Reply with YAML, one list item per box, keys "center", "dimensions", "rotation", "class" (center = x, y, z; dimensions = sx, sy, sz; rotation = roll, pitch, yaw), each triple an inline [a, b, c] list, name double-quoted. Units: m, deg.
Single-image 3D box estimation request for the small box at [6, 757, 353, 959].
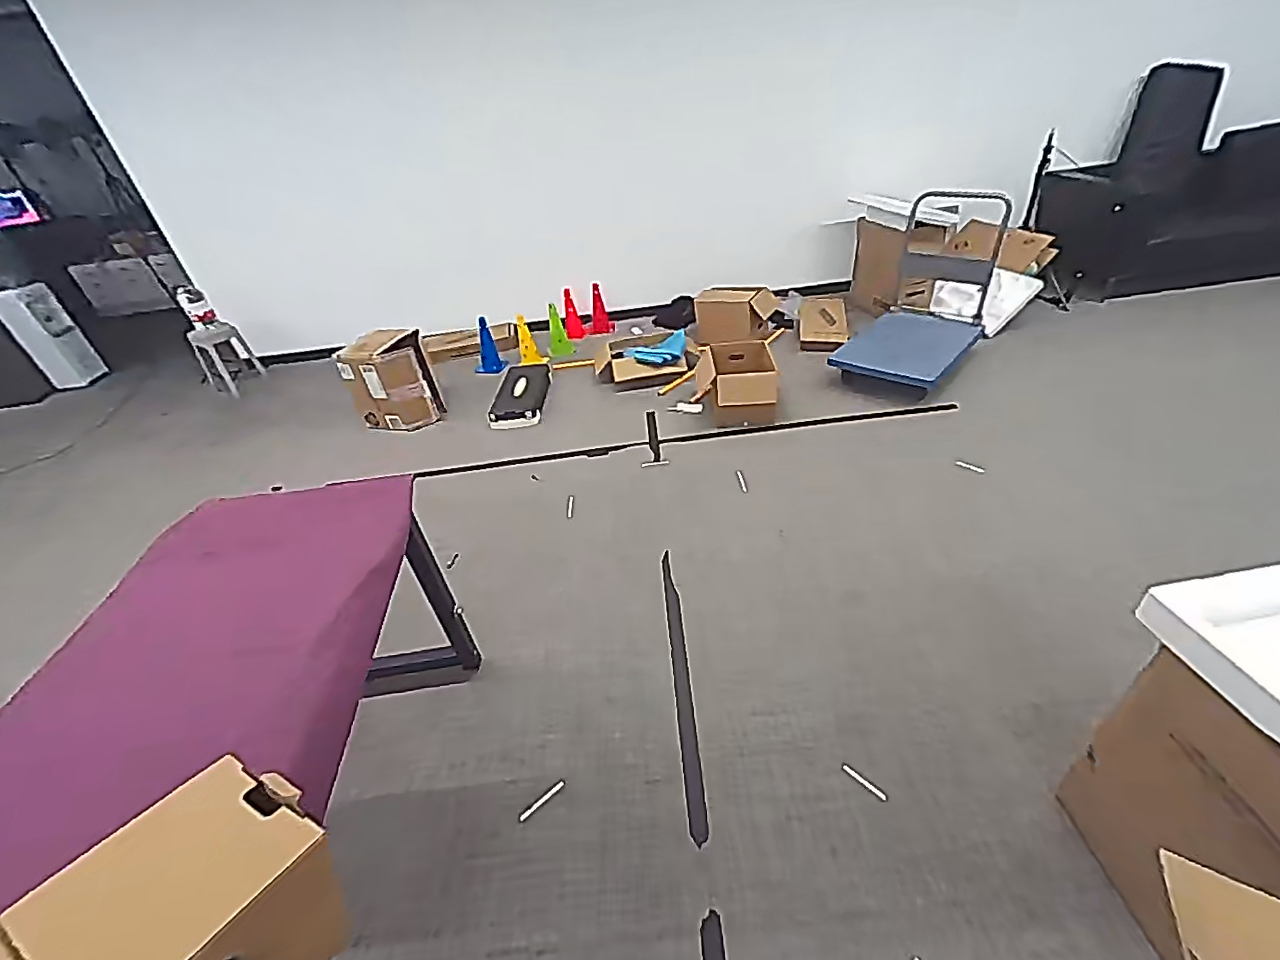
- center: [-0.404, 0.415, 0.503]
  dimensions: [0.168, 0.176, 0.179]
  rotation: [16, 28, 25]
  class: "small box"
